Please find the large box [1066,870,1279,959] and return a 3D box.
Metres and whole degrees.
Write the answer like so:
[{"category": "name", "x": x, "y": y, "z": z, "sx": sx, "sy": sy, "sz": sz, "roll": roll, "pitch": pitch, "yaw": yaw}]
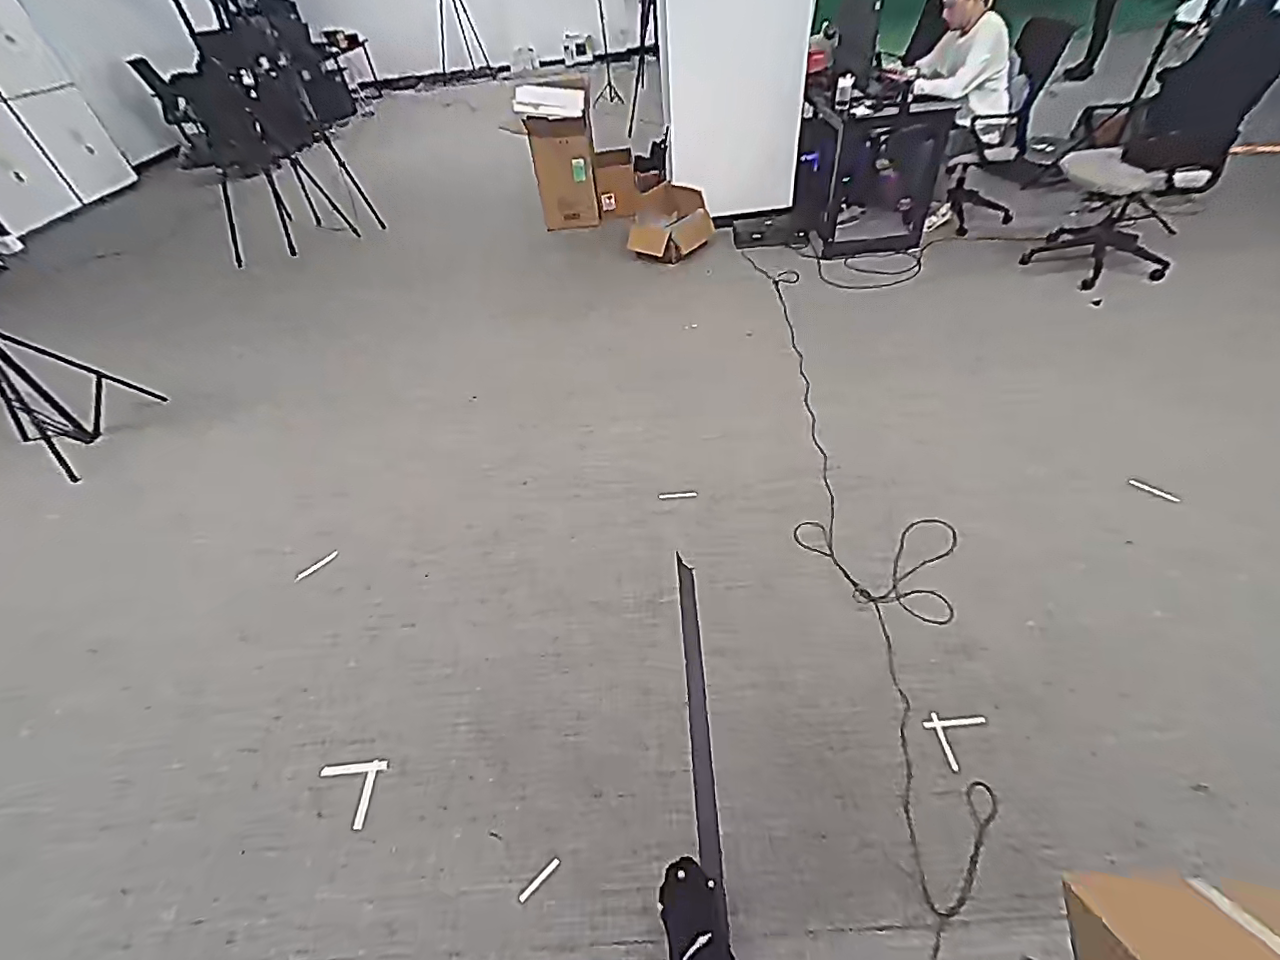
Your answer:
[{"category": "large box", "x": 0.706, "y": 0.669, "z": 0.522, "sx": 0.320, "sy": 0.408, "sz": 0.320, "roll": -5, "pitch": 82, "yaw": 14}]
